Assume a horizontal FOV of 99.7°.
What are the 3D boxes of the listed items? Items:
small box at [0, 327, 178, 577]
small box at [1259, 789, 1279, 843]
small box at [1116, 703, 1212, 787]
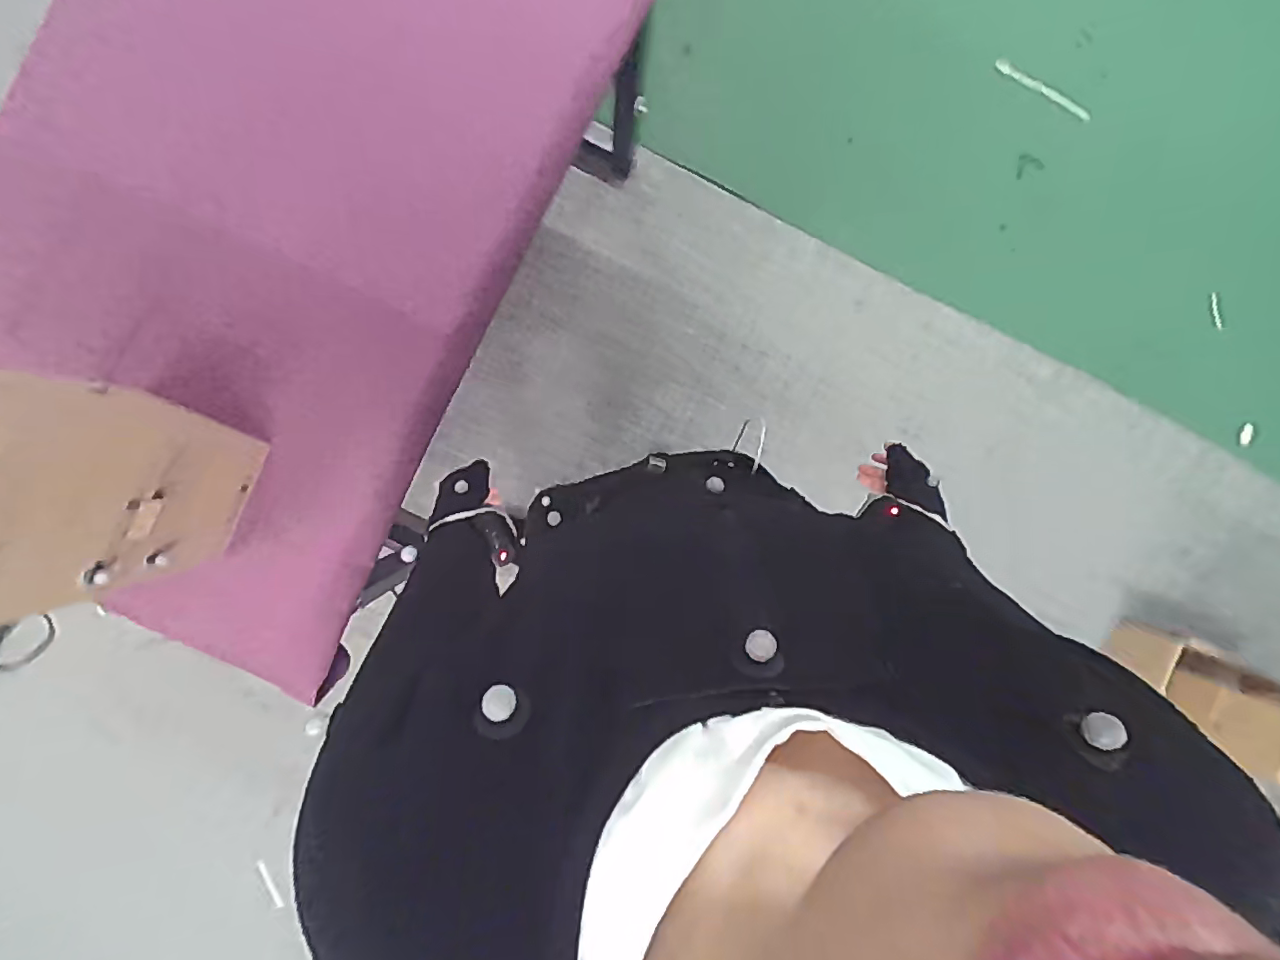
[{"bbox_3d":[-0.548,-0.031,0.441,0.179,0.176,0.168,31,87,-5],"label":"small box"},{"bbox_3d":[1.532,0.772,1.171,0.179,0.176,0.168,25,92,-6],"label":"small box"},{"bbox_3d":[1.494,0.752,1.494,0.179,0.176,0.168,28,90,-6],"label":"small box"}]
